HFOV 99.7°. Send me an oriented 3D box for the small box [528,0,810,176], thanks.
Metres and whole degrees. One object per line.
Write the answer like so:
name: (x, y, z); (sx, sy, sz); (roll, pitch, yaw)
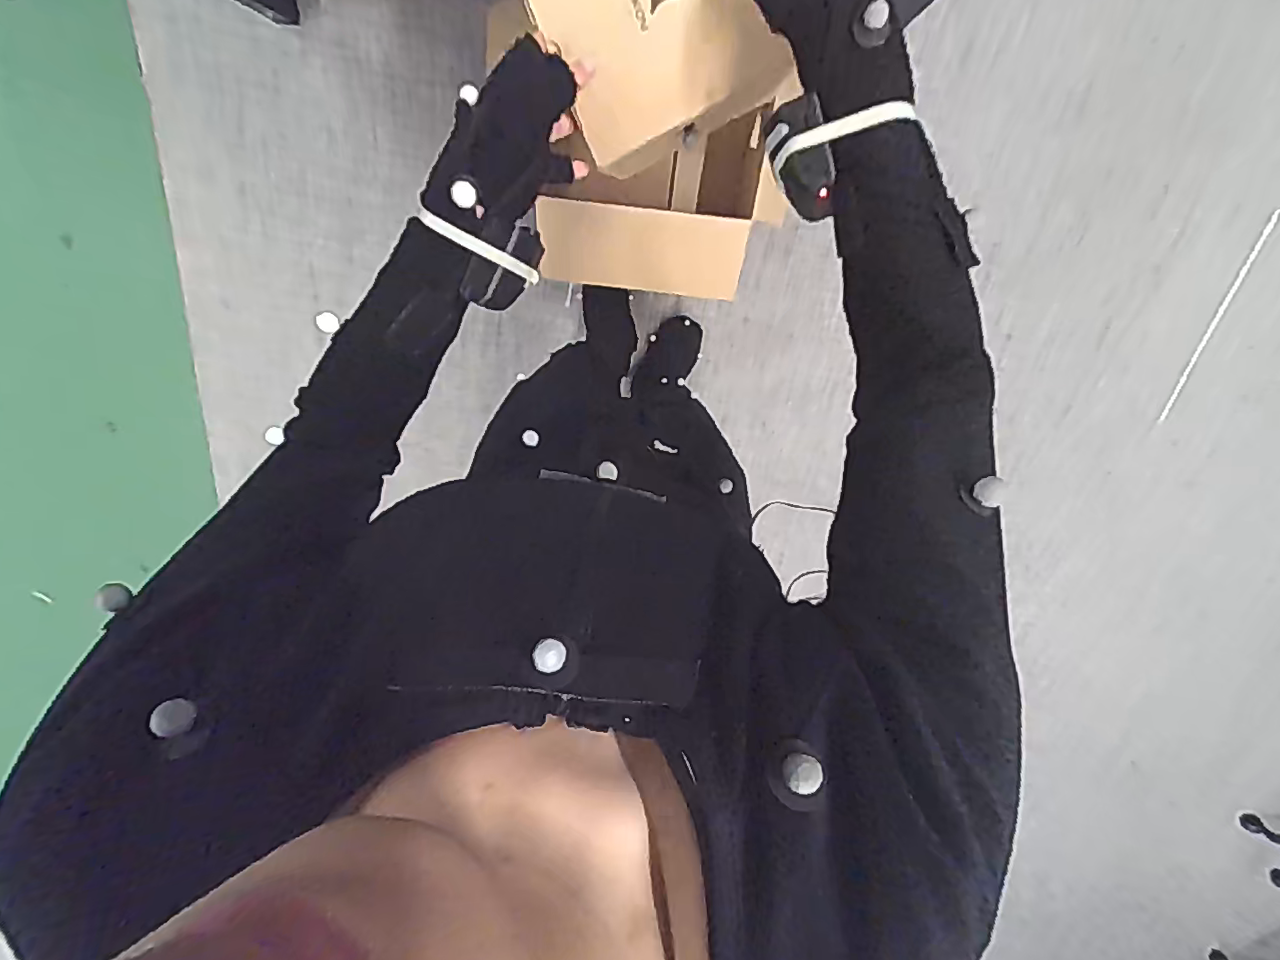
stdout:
small box: (0.020, -0.380, 0.455); (0.179, 0.176, 0.168); (-21, 113, 16)
